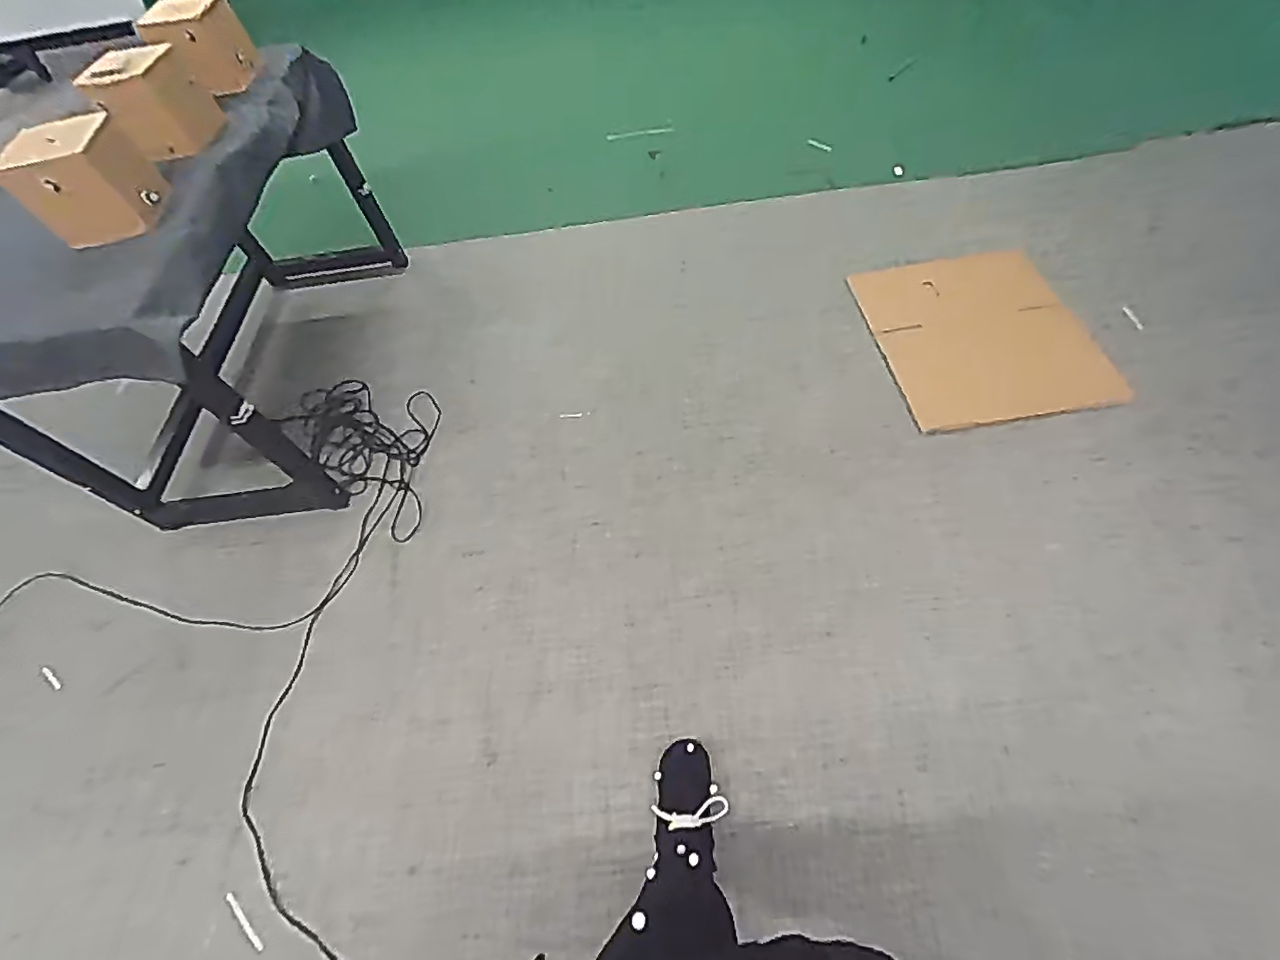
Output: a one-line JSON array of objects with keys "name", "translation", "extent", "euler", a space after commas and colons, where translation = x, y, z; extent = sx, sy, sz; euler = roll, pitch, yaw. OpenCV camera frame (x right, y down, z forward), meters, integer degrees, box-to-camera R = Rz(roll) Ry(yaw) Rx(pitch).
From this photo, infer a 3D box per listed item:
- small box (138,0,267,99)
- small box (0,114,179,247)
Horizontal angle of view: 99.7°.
[{"name": "small box", "translation": [-1.162, -1.155, 1.451], "extent": [0.179, 0.176, 0.168], "euler": [-3, 58, 5]}, {"name": "small box", "translation": [-1.113, -0.605, 1.106], "extent": [0.179, 0.176, 0.168], "euler": [-13, 59, -2]}]
